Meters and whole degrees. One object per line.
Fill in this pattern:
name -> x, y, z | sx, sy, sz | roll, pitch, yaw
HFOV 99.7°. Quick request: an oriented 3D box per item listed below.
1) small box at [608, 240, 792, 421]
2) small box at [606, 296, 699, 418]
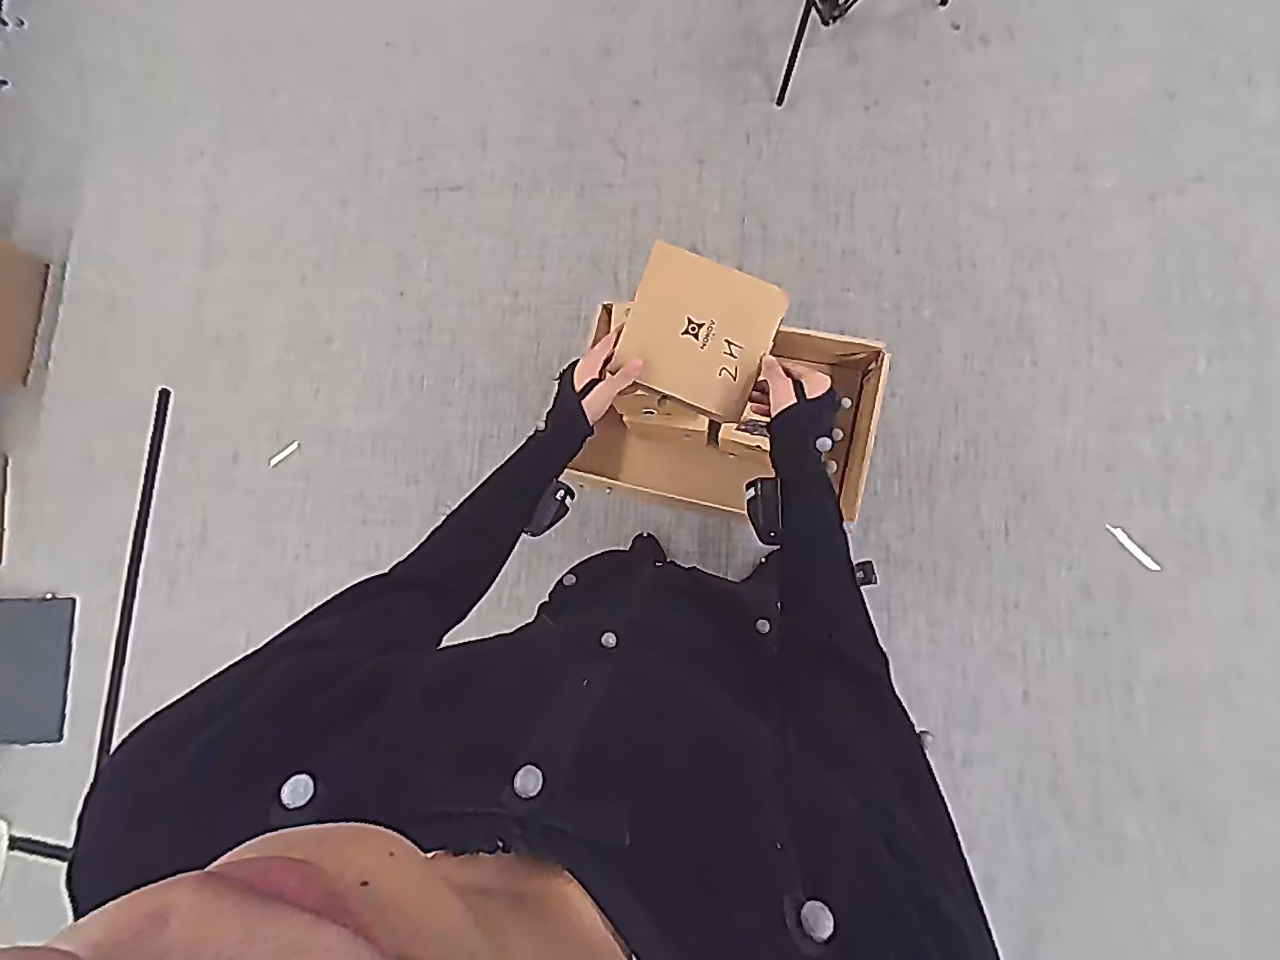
small box -> 0.072, -0.185, 0.722 | 0.179, 0.176, 0.168 | 22, 98, -1
small box -> 0.038, -0.227, 1.022 | 0.168, 0.176, 0.179 | 4, 84, 8
